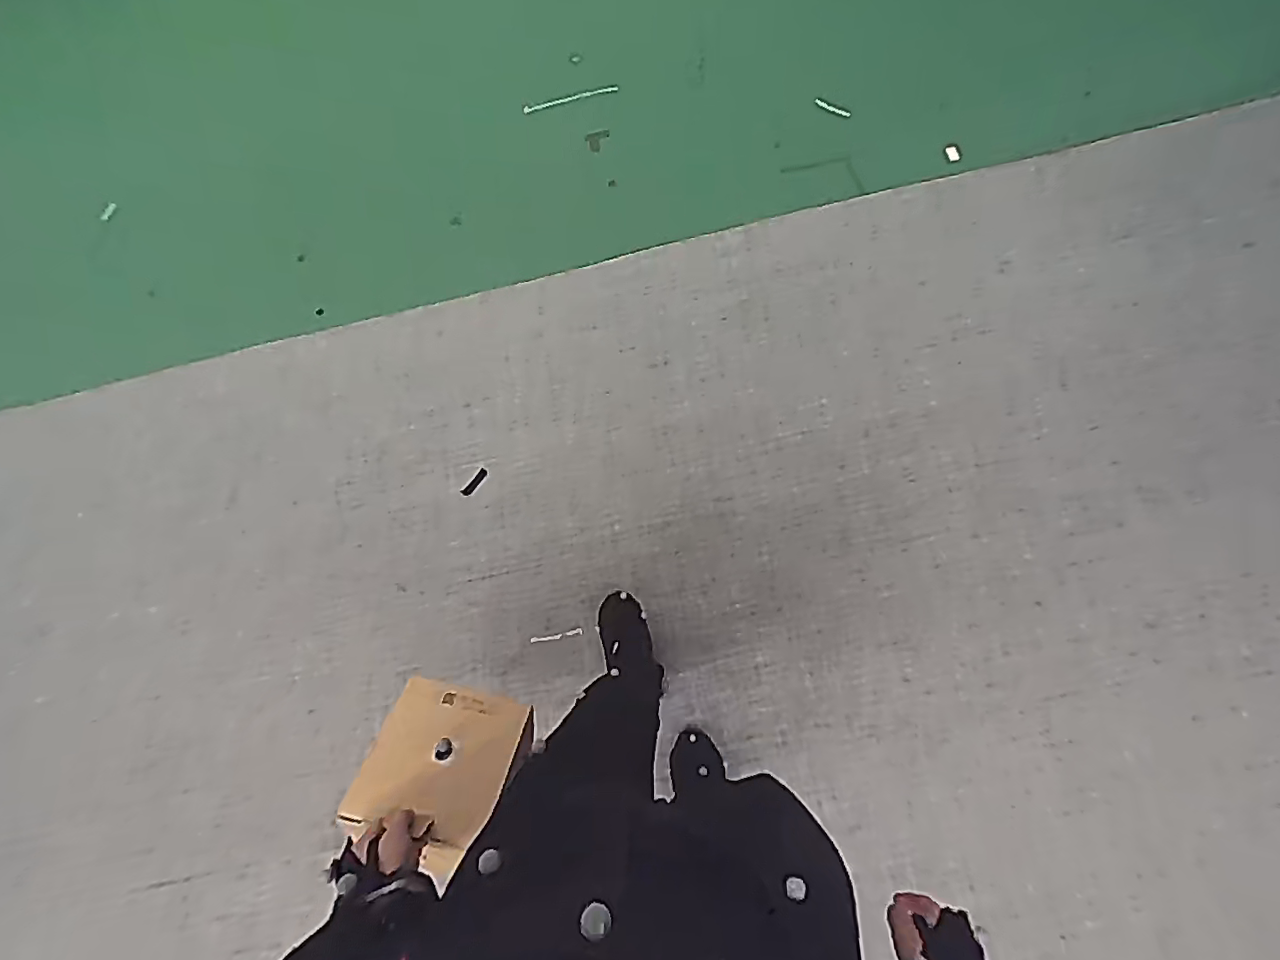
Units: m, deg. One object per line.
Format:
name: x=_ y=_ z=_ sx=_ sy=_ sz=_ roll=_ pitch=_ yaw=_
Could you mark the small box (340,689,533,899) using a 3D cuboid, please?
small box: x=-0.242 y=0.395 z=0.692 sx=0.168 sy=0.179 sz=0.176 roll=13 pitch=40 yaw=3
